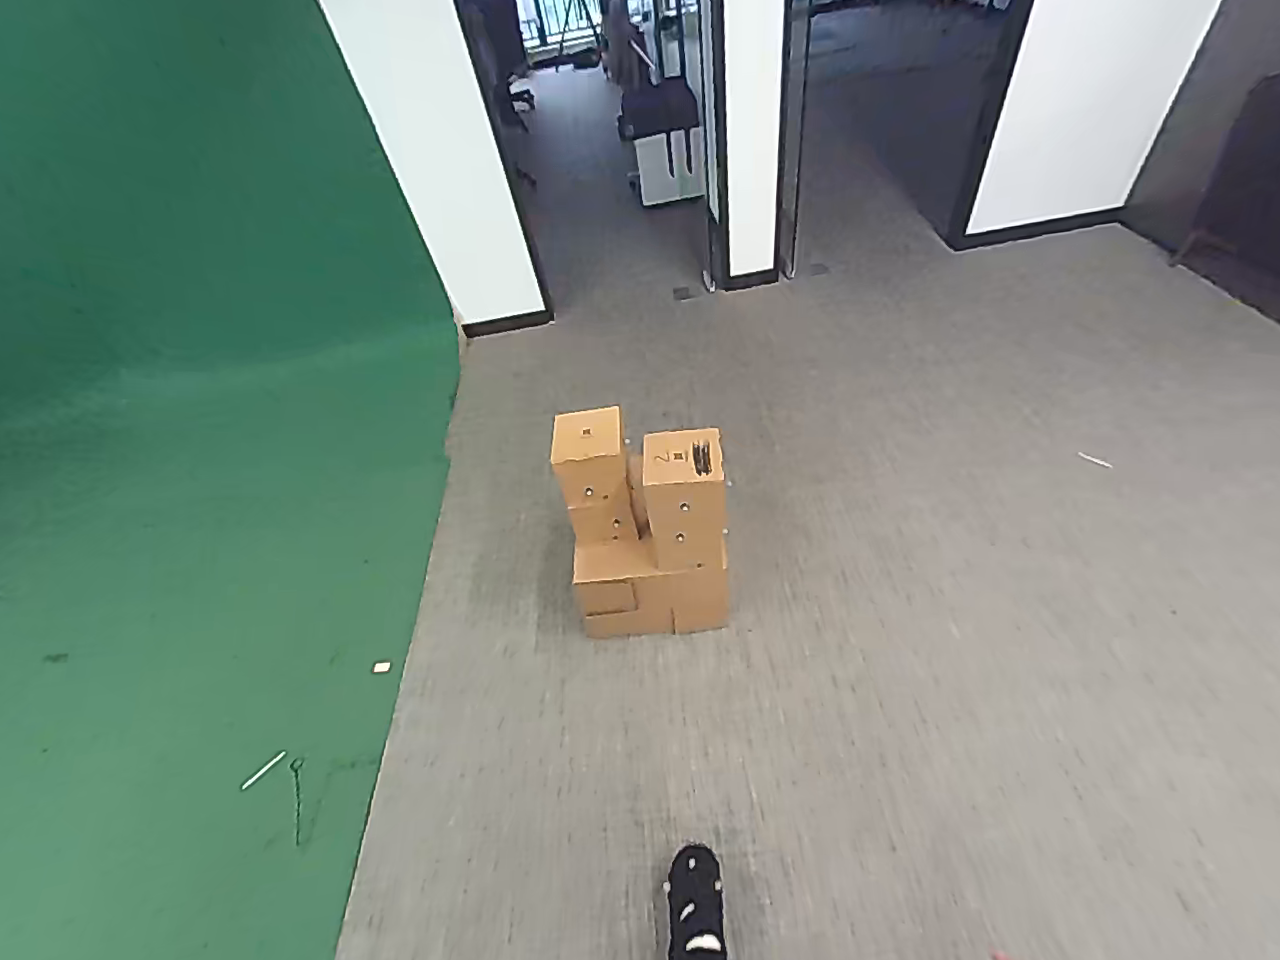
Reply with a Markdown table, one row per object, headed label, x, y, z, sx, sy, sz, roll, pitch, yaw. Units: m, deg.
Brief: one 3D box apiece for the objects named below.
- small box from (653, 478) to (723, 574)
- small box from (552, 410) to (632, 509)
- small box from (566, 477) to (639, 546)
| label | x | y | z | sx | sy | sz | roll | pitch | yaw |
| --- | --- | --- | --- | --- | --- | --- | --- | --- | --- |
| small box | 0.122 | 0.119 | 1.373 | 0.168 | 0.176 | 0.179 | -5 | 45 | 6 |
| small box | -0.115 | -0.049 | 1.358 | 0.168 | 0.176 | 0.179 | -7 | 47 | 5 |
| small box | -0.095 | 0.067 | 1.471 | 0.168 | 0.176 | 0.179 | -7 | 44 | 5 |
